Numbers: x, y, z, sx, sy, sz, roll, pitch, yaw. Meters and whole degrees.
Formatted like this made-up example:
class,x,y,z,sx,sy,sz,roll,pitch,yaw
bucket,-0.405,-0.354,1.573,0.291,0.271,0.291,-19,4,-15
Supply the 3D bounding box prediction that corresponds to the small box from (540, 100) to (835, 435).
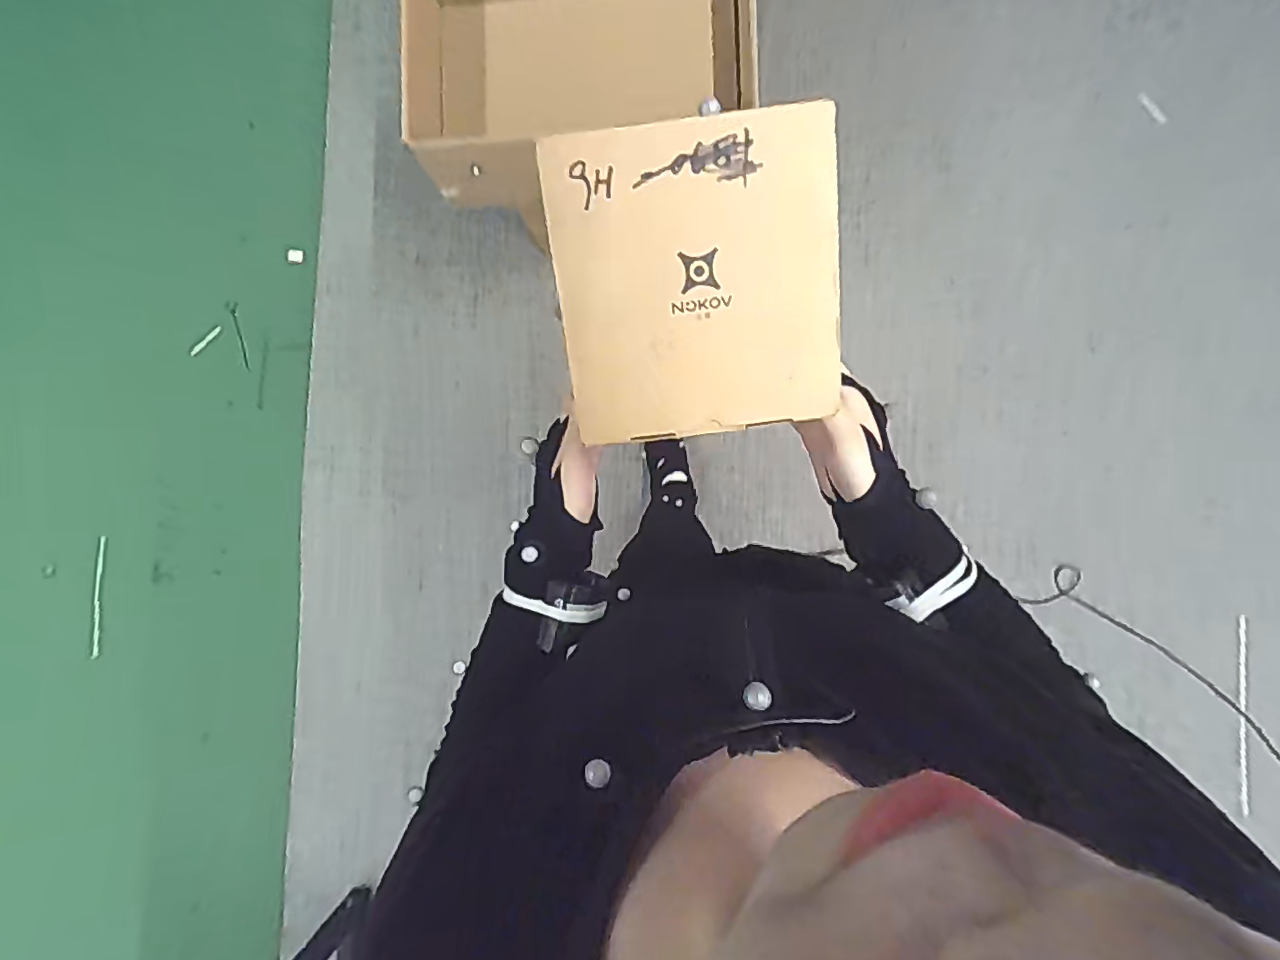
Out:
class,x,y,z,sx,sy,sz,roll,pitch,yaw
small box,0.031,-0.143,0.398,0.168,0.176,0.179,-7,108,0
